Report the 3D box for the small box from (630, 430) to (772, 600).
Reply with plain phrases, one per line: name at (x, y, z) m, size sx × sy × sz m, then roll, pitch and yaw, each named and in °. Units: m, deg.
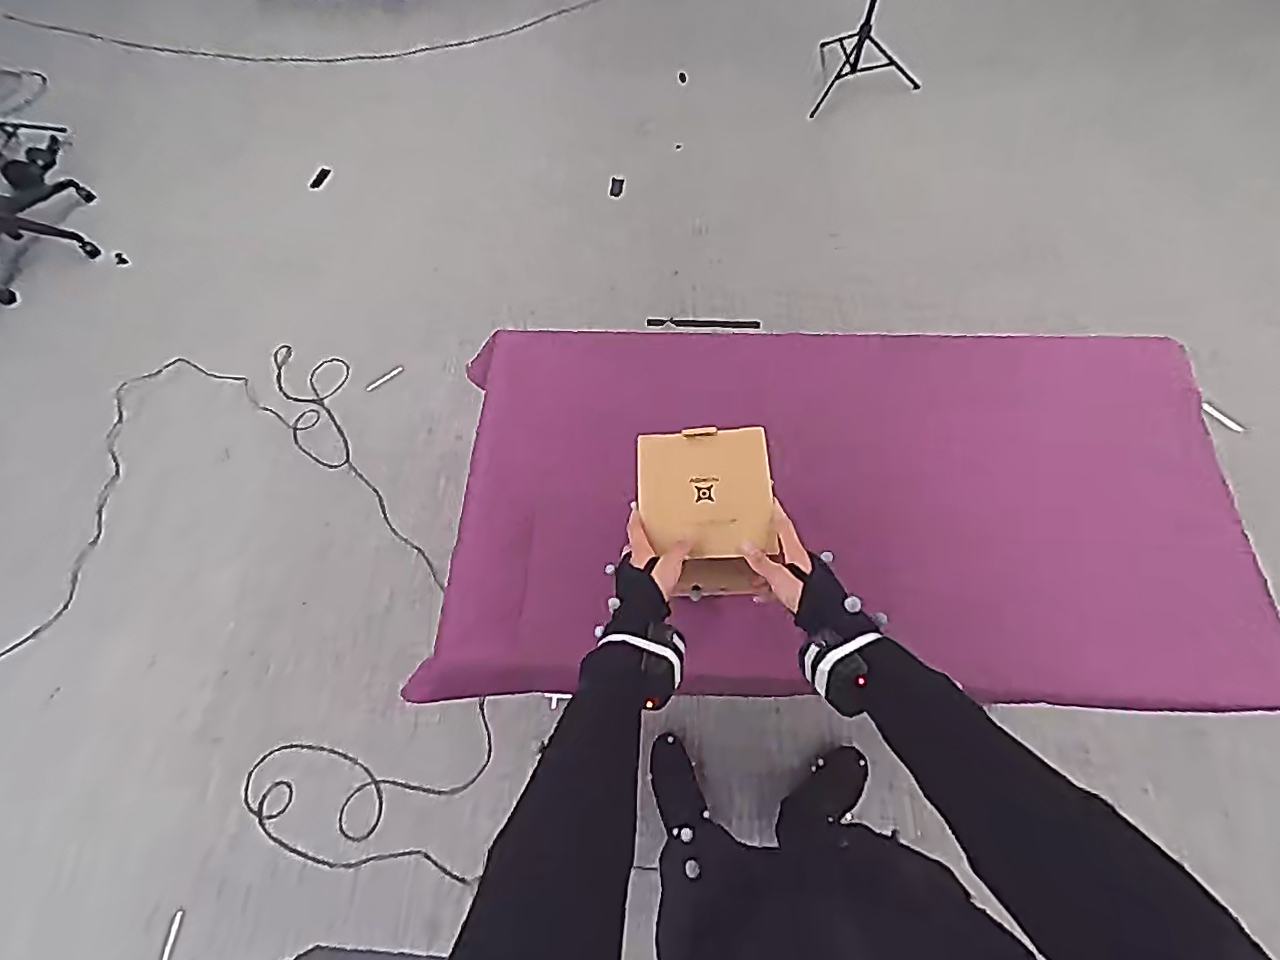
small box at (0.078, 0.053, 0.729) m, size 0.168 × 0.176 × 0.179 m, roll -4°, pitch 63°, yaw 6°
